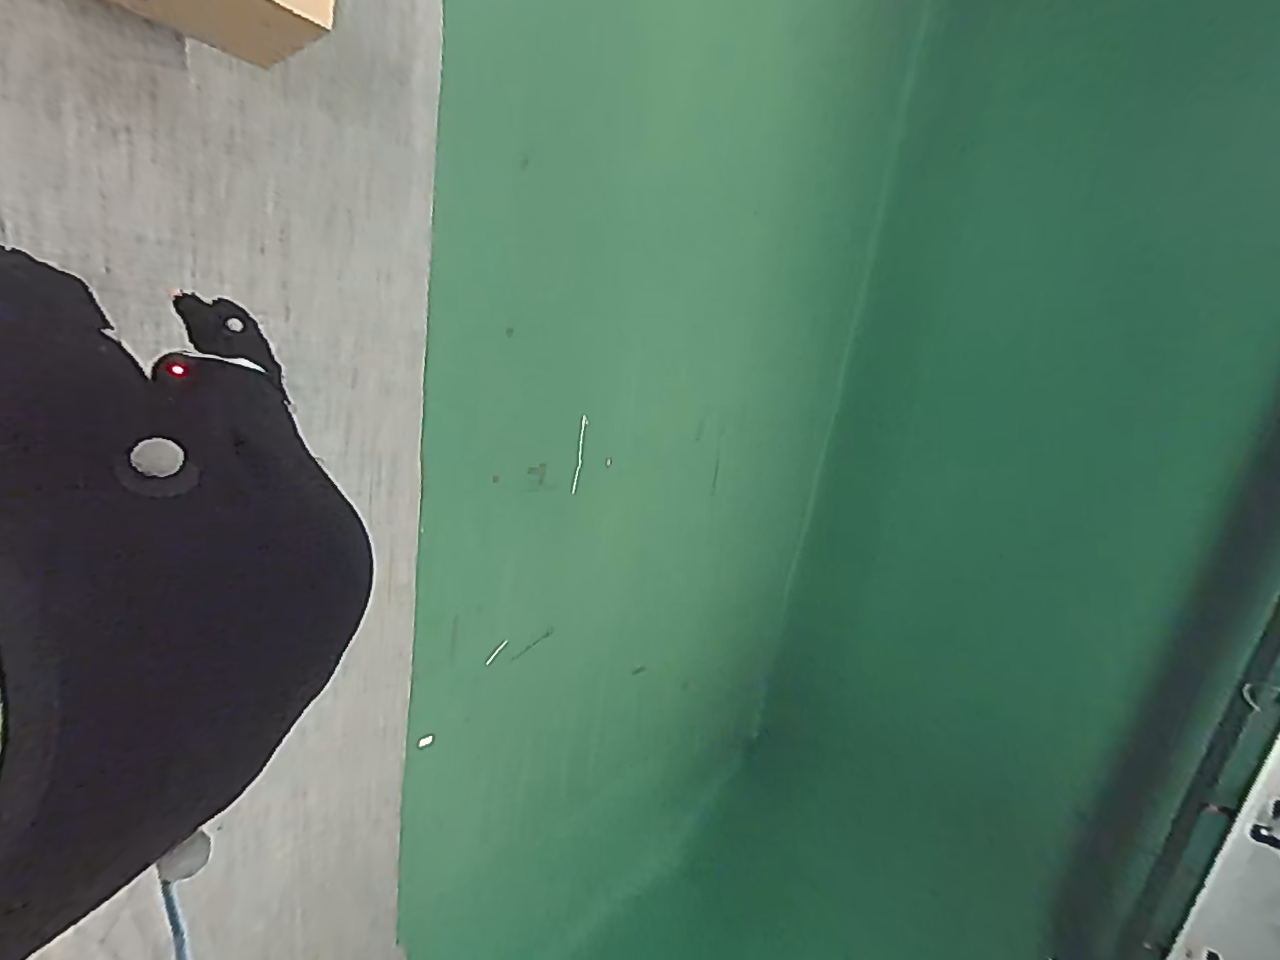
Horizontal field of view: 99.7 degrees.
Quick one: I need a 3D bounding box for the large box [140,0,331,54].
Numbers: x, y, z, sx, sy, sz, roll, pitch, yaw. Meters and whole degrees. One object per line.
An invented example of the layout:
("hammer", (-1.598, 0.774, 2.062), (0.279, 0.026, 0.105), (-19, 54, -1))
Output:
("large box", (-0.692, -0.882, 0.745), (0.408, 0.320, 0.320), (-6, 110, -49))
